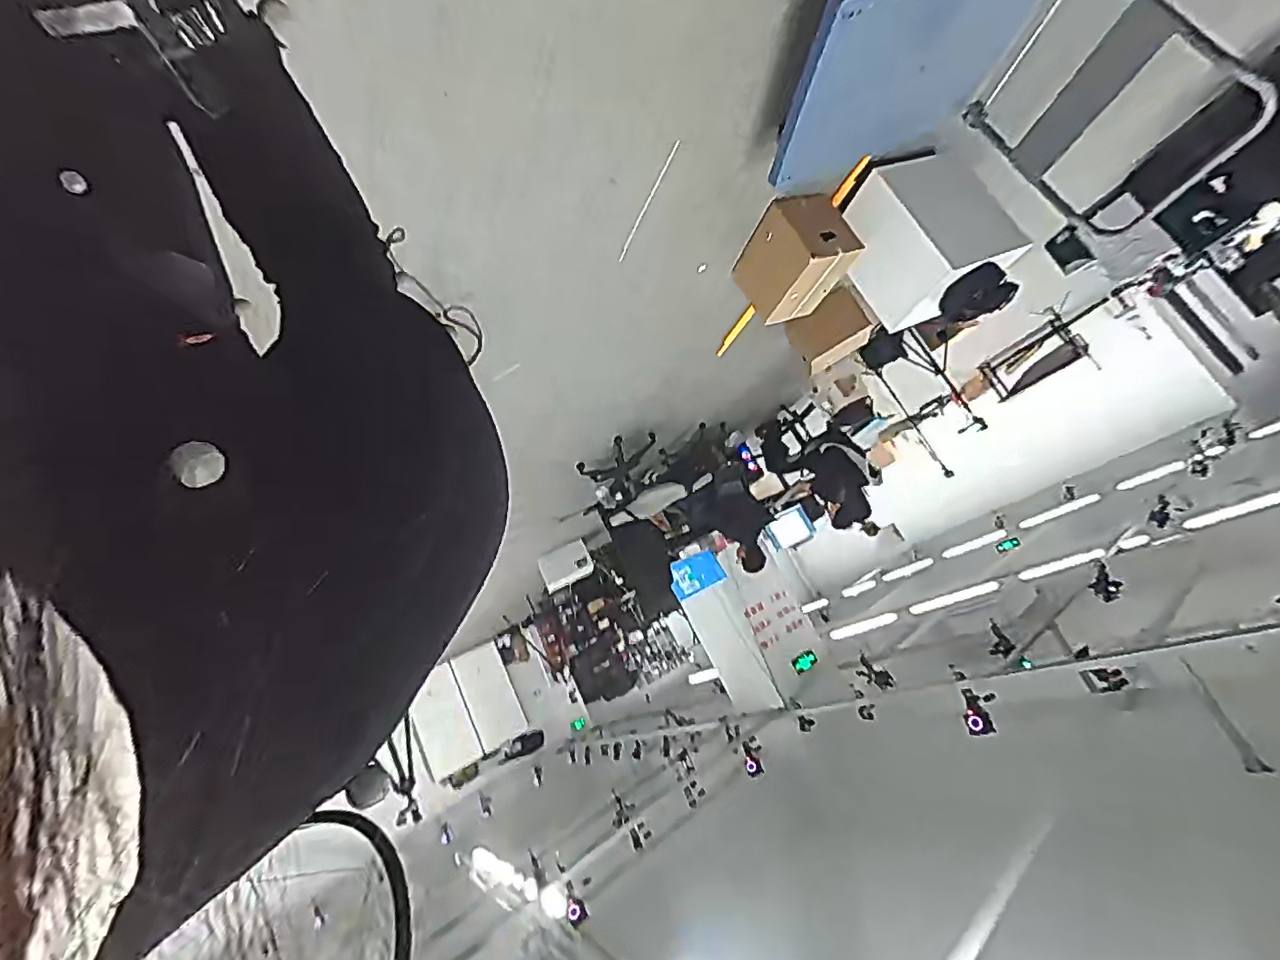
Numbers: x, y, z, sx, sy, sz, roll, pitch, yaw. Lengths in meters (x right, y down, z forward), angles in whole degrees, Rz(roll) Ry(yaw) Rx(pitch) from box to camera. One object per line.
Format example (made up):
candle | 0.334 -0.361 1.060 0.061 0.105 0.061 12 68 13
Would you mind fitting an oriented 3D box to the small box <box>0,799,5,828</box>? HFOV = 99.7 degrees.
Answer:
small box | -1.755 0.831 1.353 0.168 0.176 0.179 -18 162 -37
